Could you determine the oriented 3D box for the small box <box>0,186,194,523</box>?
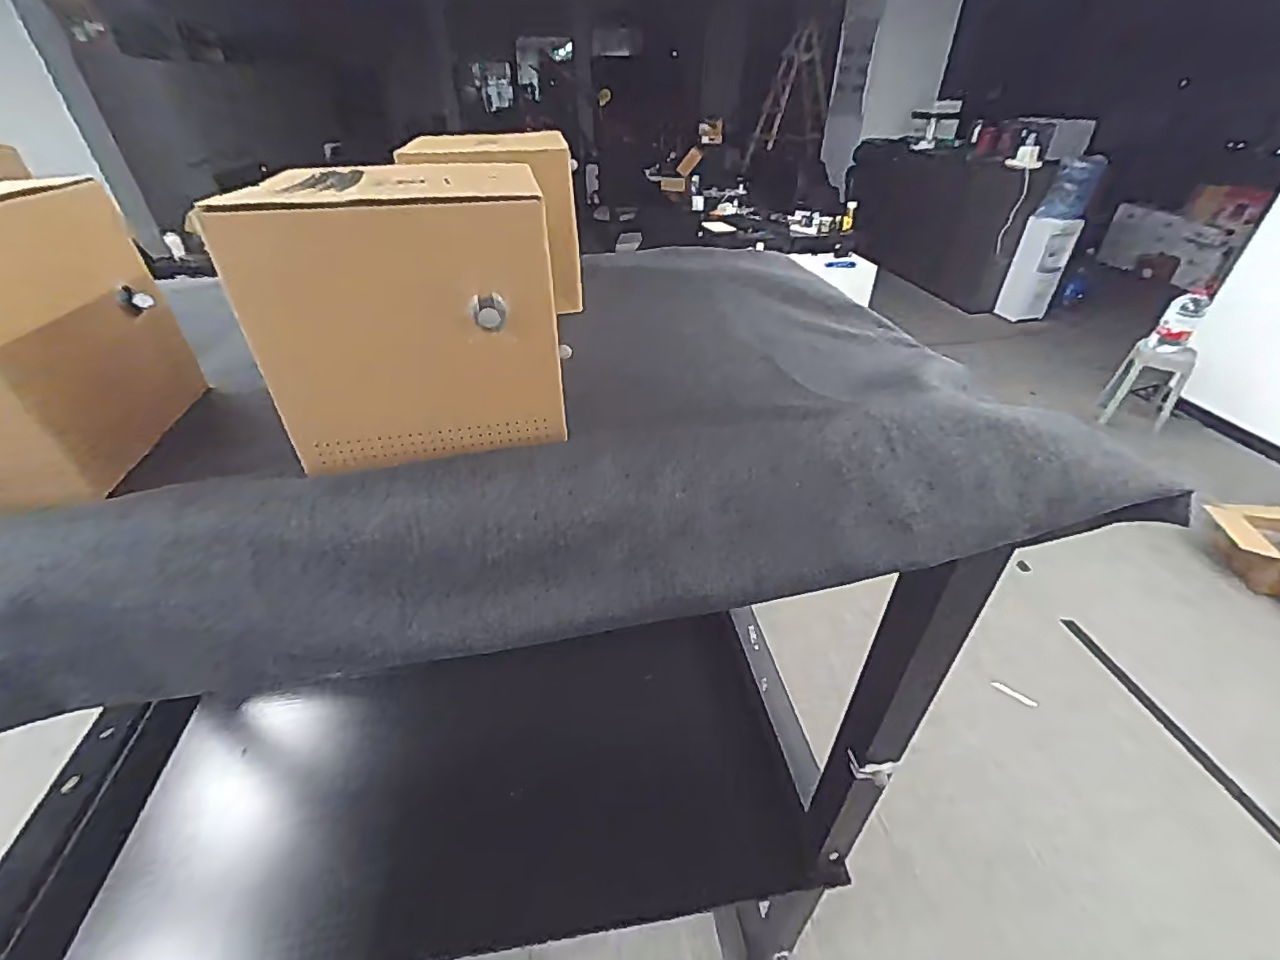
[{"bbox_3d":[-0.440,-0.083,0.349,0.168,0.176,0.179,-9,36,-10],"label":"small box"}]

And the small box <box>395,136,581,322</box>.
[{"bbox_3d":[-0.161,-0.289,0.627,0.168,0.176,0.179,-7,37,-8],"label":"small box"}]
